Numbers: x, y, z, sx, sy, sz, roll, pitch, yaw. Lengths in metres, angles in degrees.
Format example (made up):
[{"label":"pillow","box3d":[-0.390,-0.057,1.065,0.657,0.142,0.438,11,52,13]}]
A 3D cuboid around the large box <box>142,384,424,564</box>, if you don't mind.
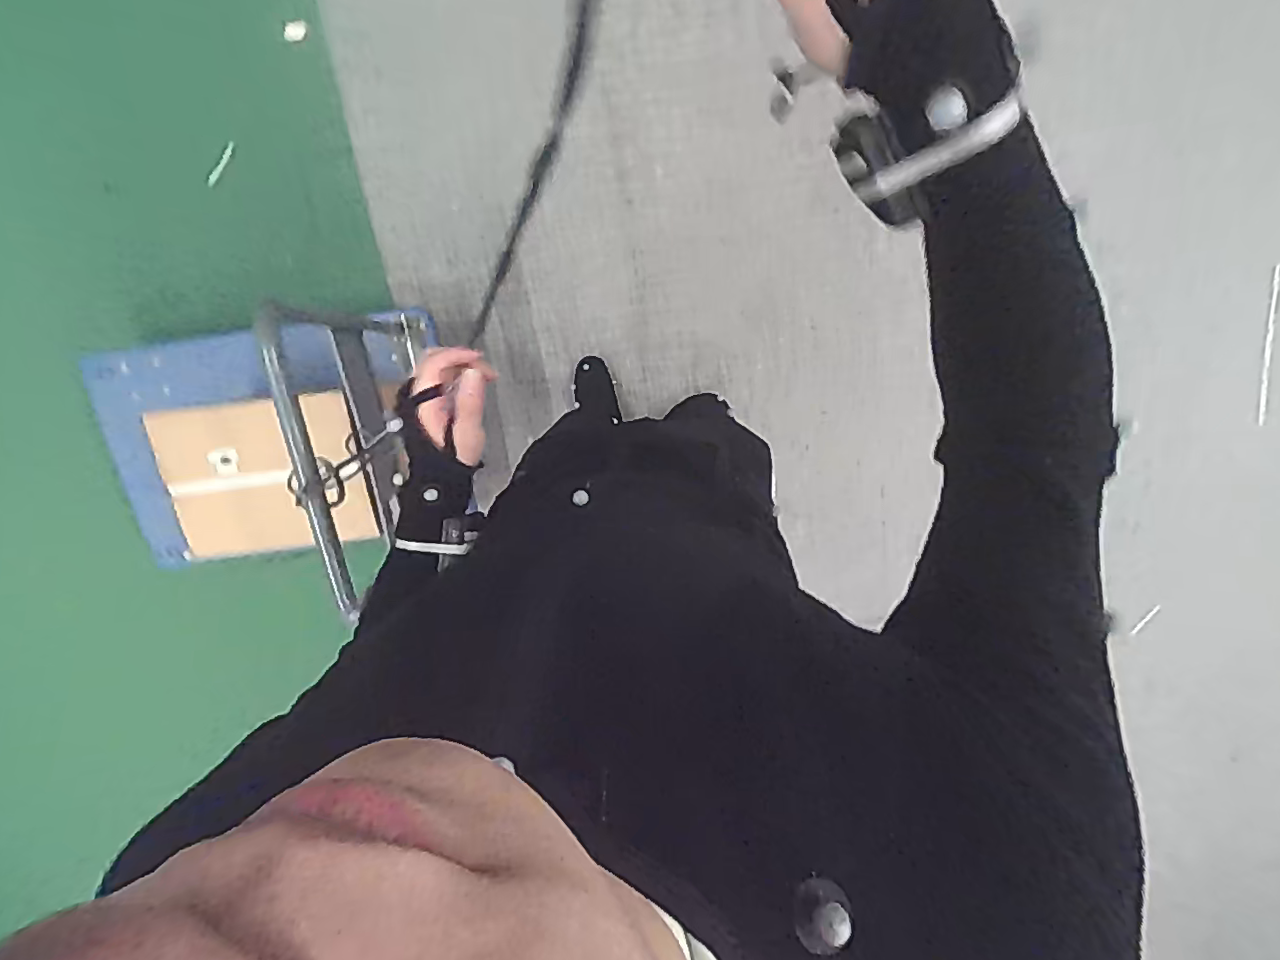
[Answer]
[{"label":"large box","box3d":[-0.779,-0.032,1.253,0.408,0.320,0.320,-7,104,0]}]
